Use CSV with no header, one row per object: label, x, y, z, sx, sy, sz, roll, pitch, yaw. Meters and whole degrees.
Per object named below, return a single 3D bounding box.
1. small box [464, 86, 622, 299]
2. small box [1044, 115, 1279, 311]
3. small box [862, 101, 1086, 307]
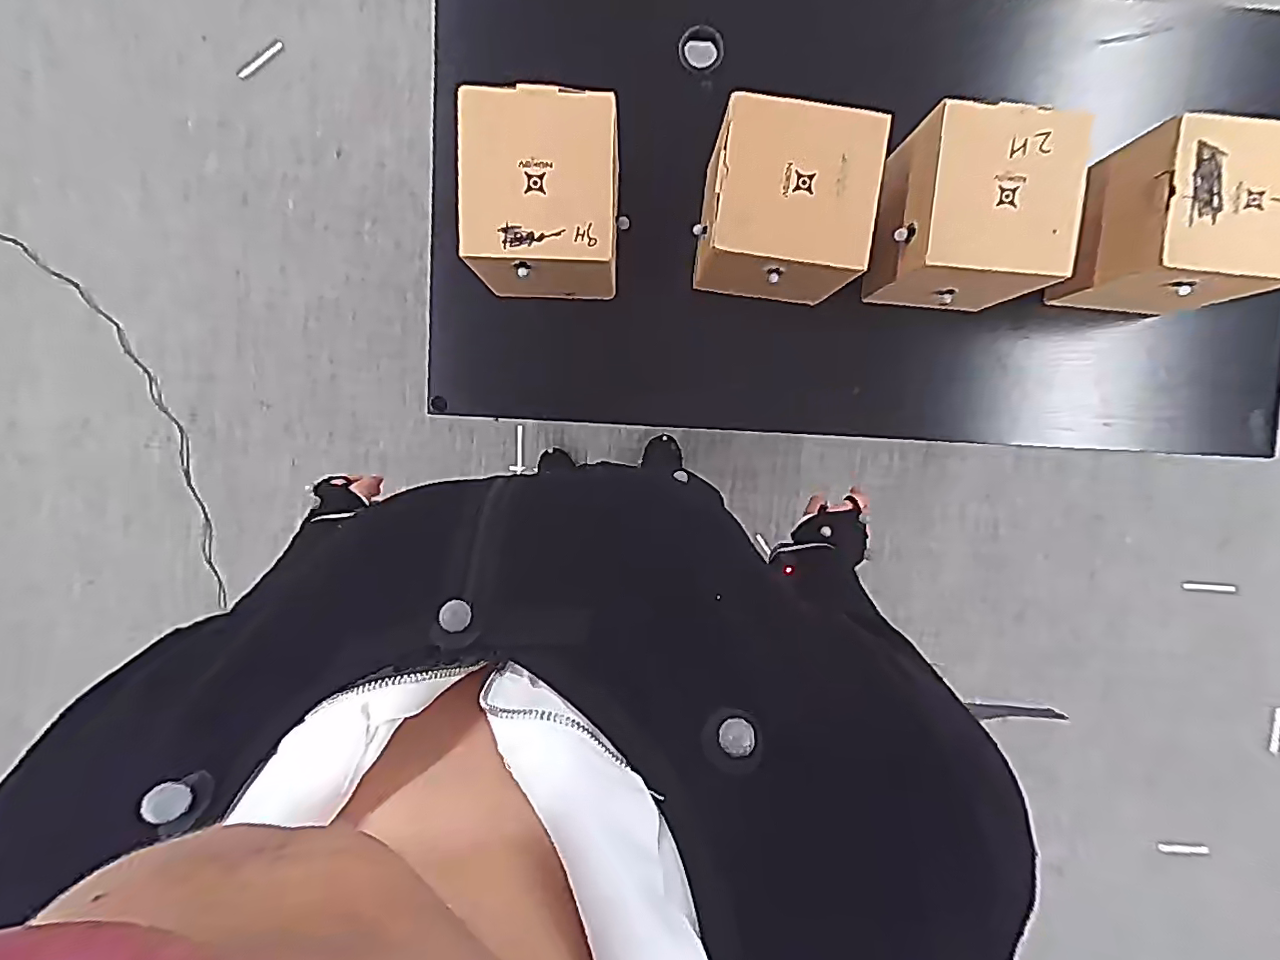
small box,-0.108,-0.336,0.664,0.168,0.176,0.179,2,95,-1
small box,0.658,-0.319,0.680,0.179,0.176,0.168,5,94,-2
small box,0.396,-0.325,0.675,0.168,0.176,0.179,5,94,-2
